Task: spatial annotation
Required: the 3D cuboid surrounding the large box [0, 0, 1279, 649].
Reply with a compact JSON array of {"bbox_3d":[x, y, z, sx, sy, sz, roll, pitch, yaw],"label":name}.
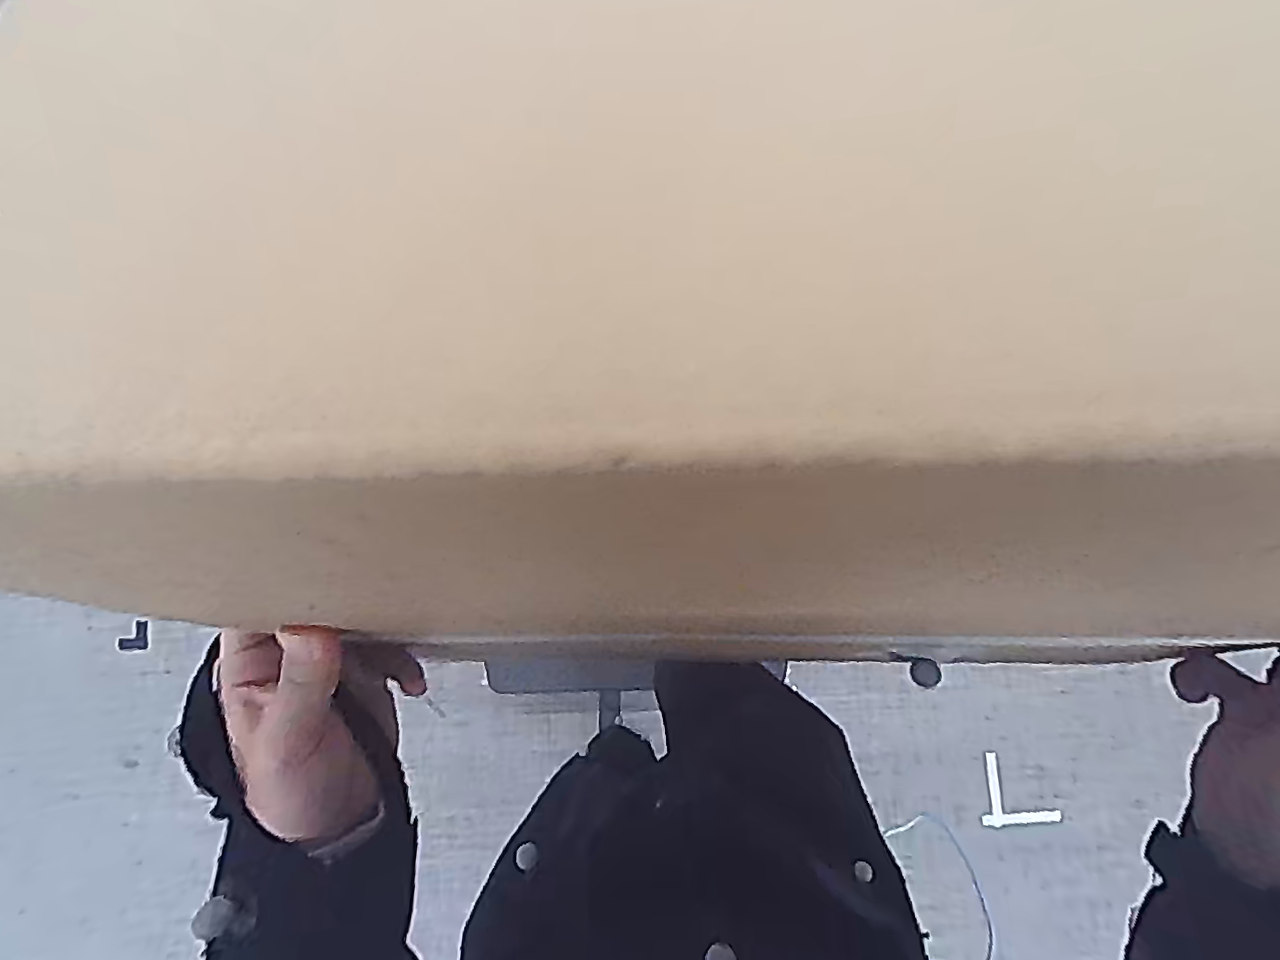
[{"bbox_3d":[0.052,-0.096,0.264,0.408,0.320,0.320,-2,68,5],"label":"large box"}]
